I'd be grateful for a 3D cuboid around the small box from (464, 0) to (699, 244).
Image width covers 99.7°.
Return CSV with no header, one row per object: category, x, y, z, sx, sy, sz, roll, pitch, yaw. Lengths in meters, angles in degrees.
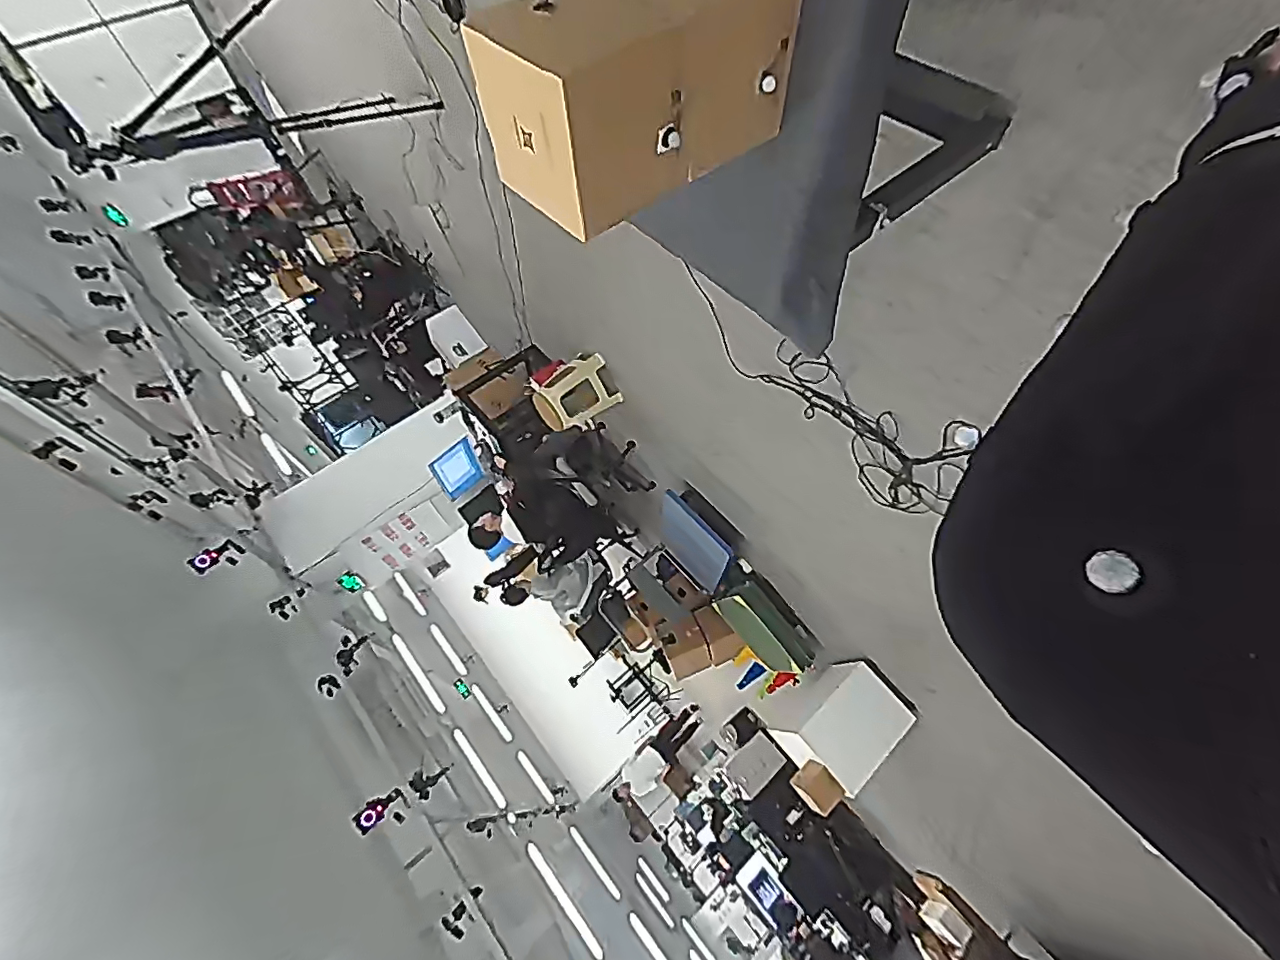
small box,-0.057,-0.405,0.600,0.179,0.176,0.168,43,160,25
